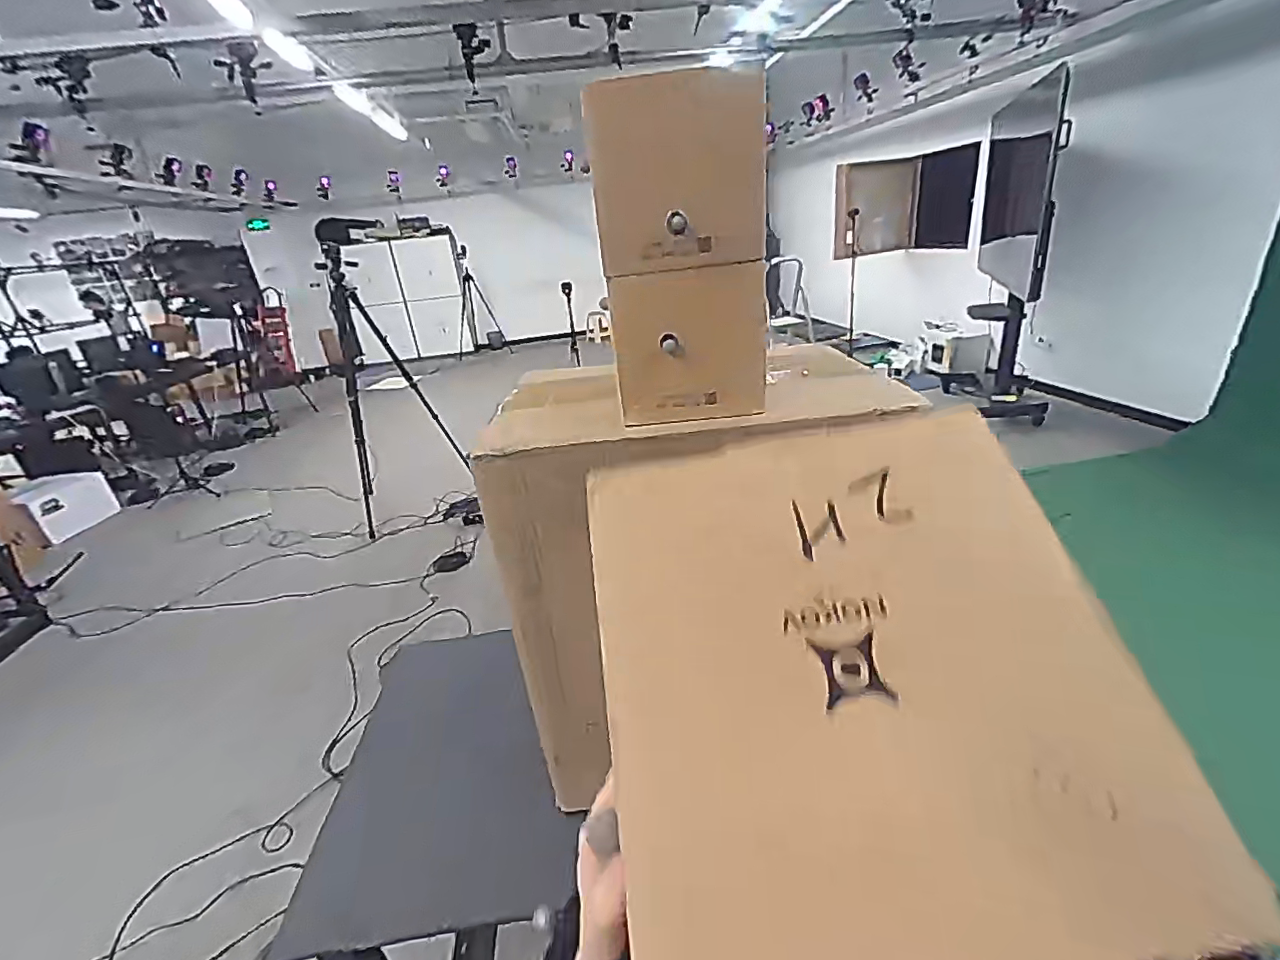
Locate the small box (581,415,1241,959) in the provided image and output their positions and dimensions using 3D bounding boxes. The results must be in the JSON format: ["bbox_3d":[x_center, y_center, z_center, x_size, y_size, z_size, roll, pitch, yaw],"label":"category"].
[{"bbox_3d":[0.074,0.100,0.252,0.168,0.176,0.179,-10,57,2],"label":"small box"}]

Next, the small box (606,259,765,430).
[{"bbox_3d":[0.057,-0.165,0.662,0.168,0.176,0.179,-5,26,3],"label":"small box"}]
